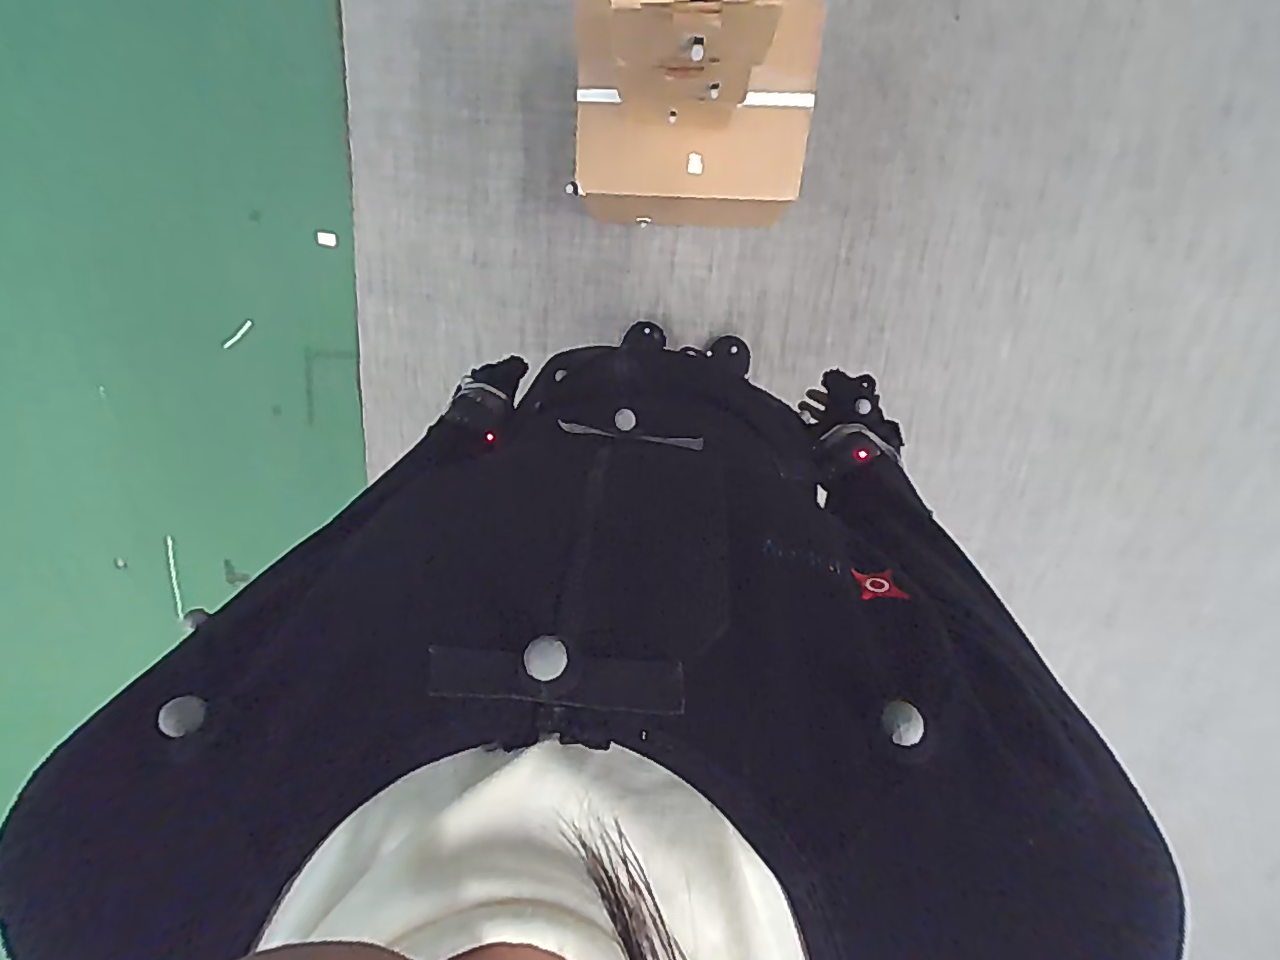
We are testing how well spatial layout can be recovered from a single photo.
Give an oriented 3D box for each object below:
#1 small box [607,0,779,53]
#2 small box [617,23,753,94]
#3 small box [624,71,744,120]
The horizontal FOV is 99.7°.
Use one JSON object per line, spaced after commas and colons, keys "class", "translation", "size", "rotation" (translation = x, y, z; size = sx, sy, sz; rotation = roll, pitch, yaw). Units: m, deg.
{"class": "small box", "translation": [0.060, -0.549, 0.533], "size": [0.168, 0.176, 0.179], "rotation": [3, 114, 5]}
{"class": "small box", "translation": [0.064, -0.611, 0.685], "size": [0.168, 0.176, 0.179], "rotation": [2, 112, 5]}
{"class": "small box", "translation": [0.074, -0.672, 0.835], "size": [0.179, 0.176, 0.168], "rotation": [5, 114, 4]}
